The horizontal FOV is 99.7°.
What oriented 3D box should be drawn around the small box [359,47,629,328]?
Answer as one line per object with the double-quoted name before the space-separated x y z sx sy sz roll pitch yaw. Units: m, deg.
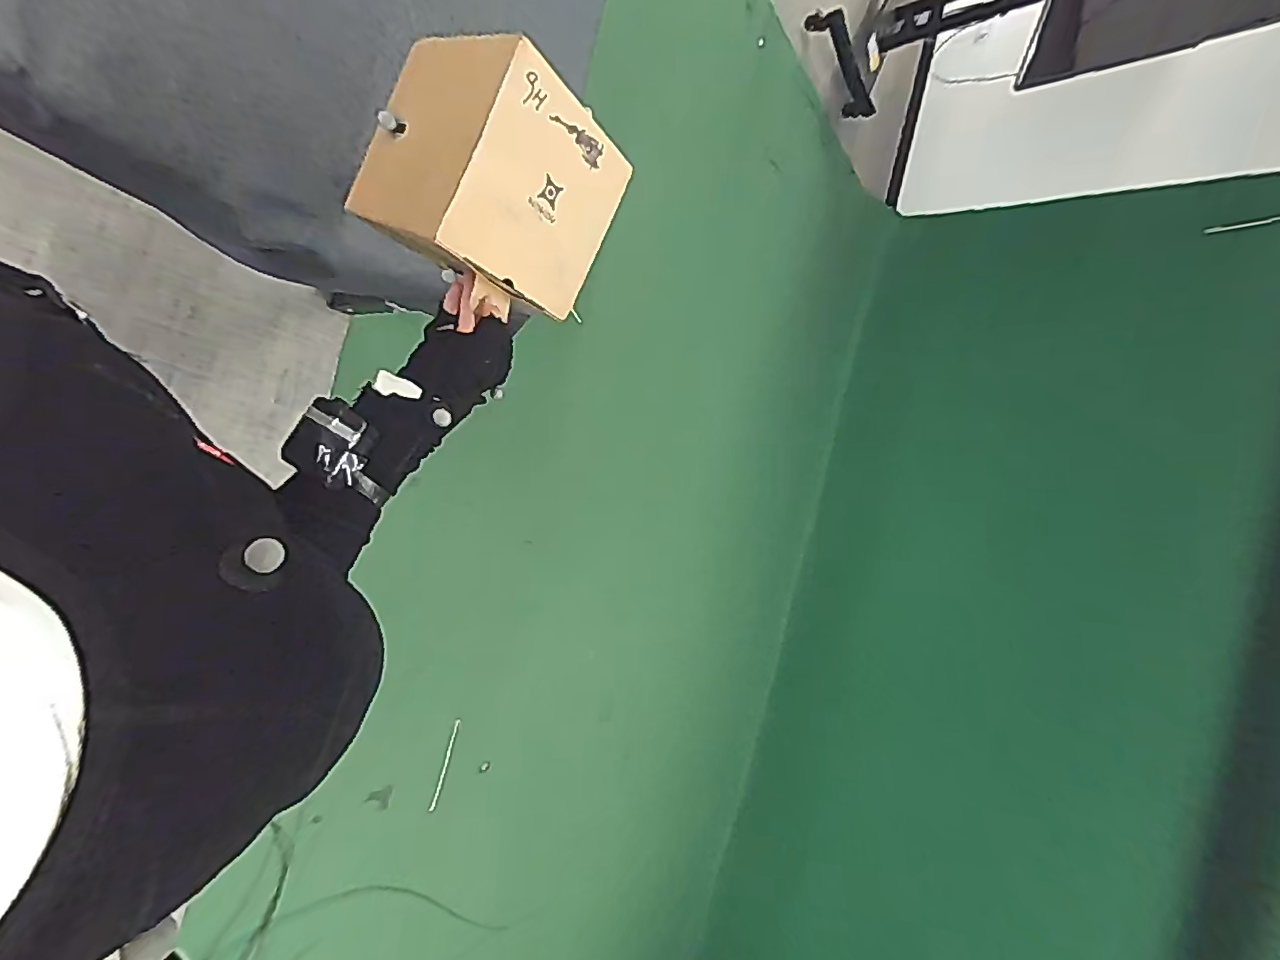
"small box" -0.149 -0.285 0.543 0.168 0.176 0.179 18 101 -58
